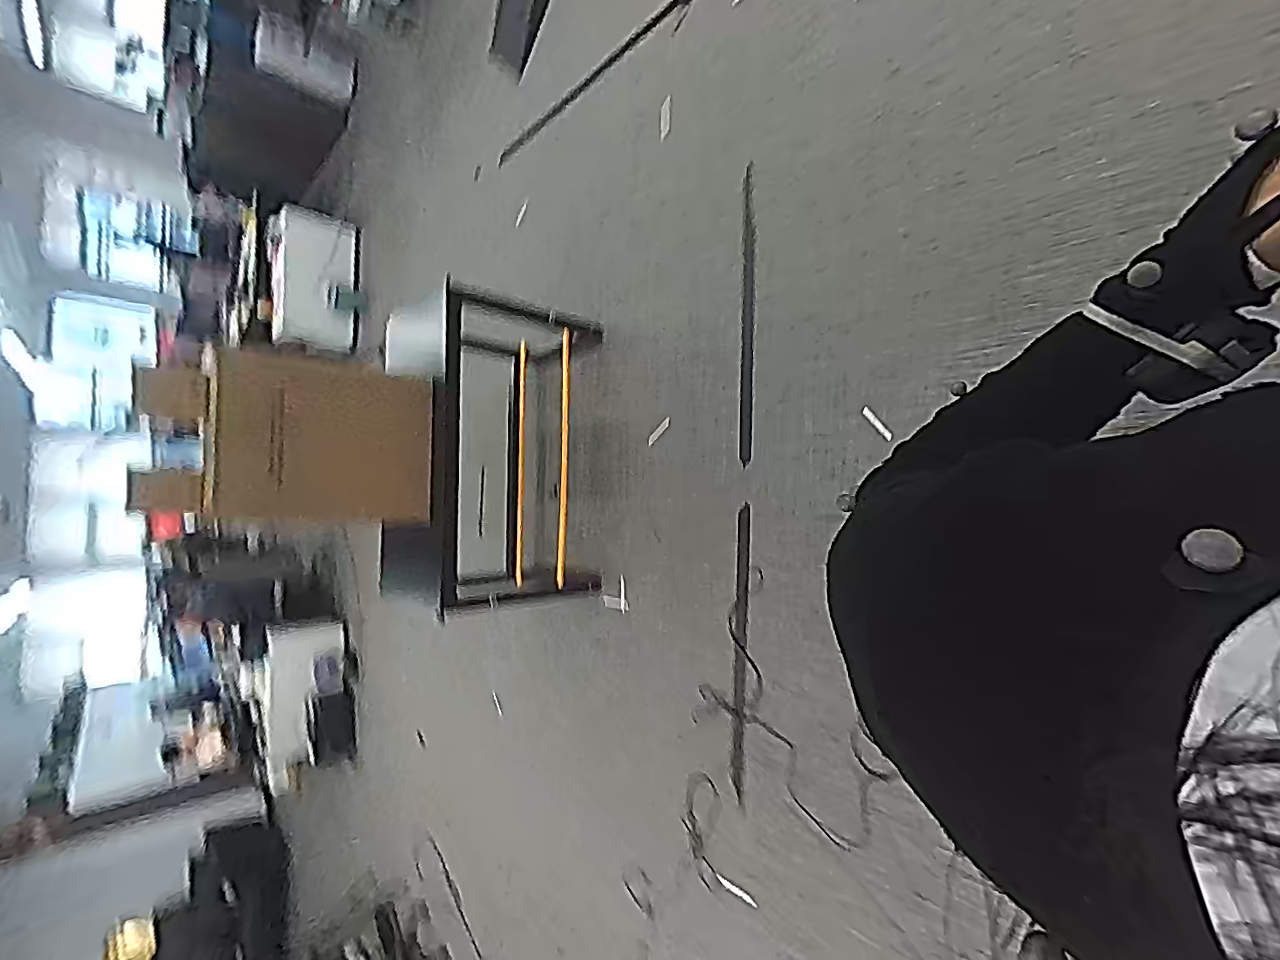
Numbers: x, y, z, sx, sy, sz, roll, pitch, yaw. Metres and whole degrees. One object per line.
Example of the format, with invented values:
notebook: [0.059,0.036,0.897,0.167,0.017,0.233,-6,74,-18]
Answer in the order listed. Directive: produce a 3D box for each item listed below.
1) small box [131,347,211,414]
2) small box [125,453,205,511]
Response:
small box: [-1.391,-0.288,1.603,0.179,0.176,0.168,2,91,47]
small box: [-1.425,0.007,1.623,0.179,0.176,0.168,-1,86,47]
